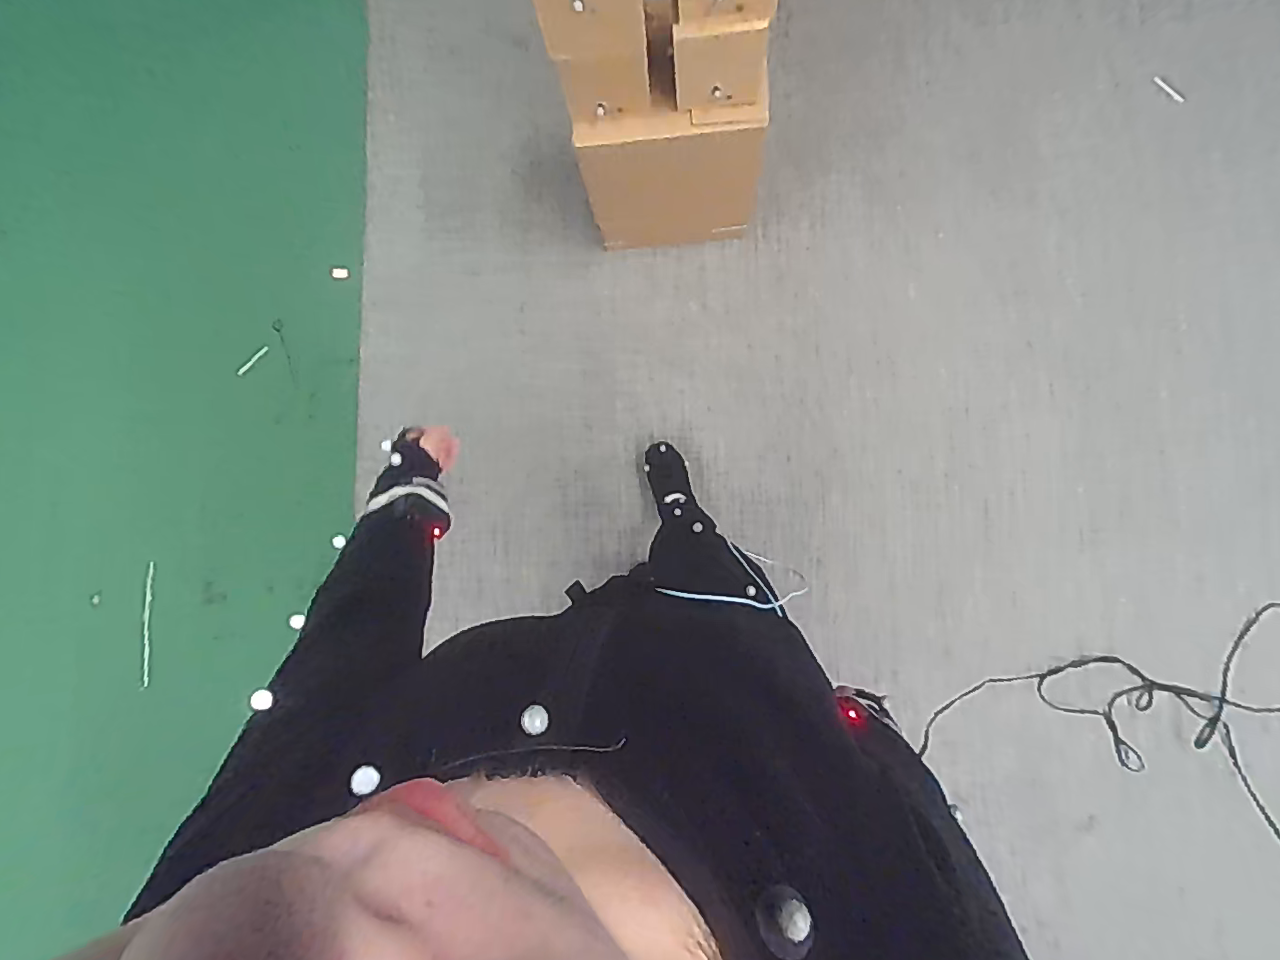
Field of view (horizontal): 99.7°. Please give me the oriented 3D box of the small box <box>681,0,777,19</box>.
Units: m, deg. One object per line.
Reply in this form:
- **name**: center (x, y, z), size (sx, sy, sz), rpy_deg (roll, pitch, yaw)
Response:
- **small box**: center (0.147, -0.891, 0.859), size (0.168, 0.176, 0.179), rpy_deg (1, 86, 6)
